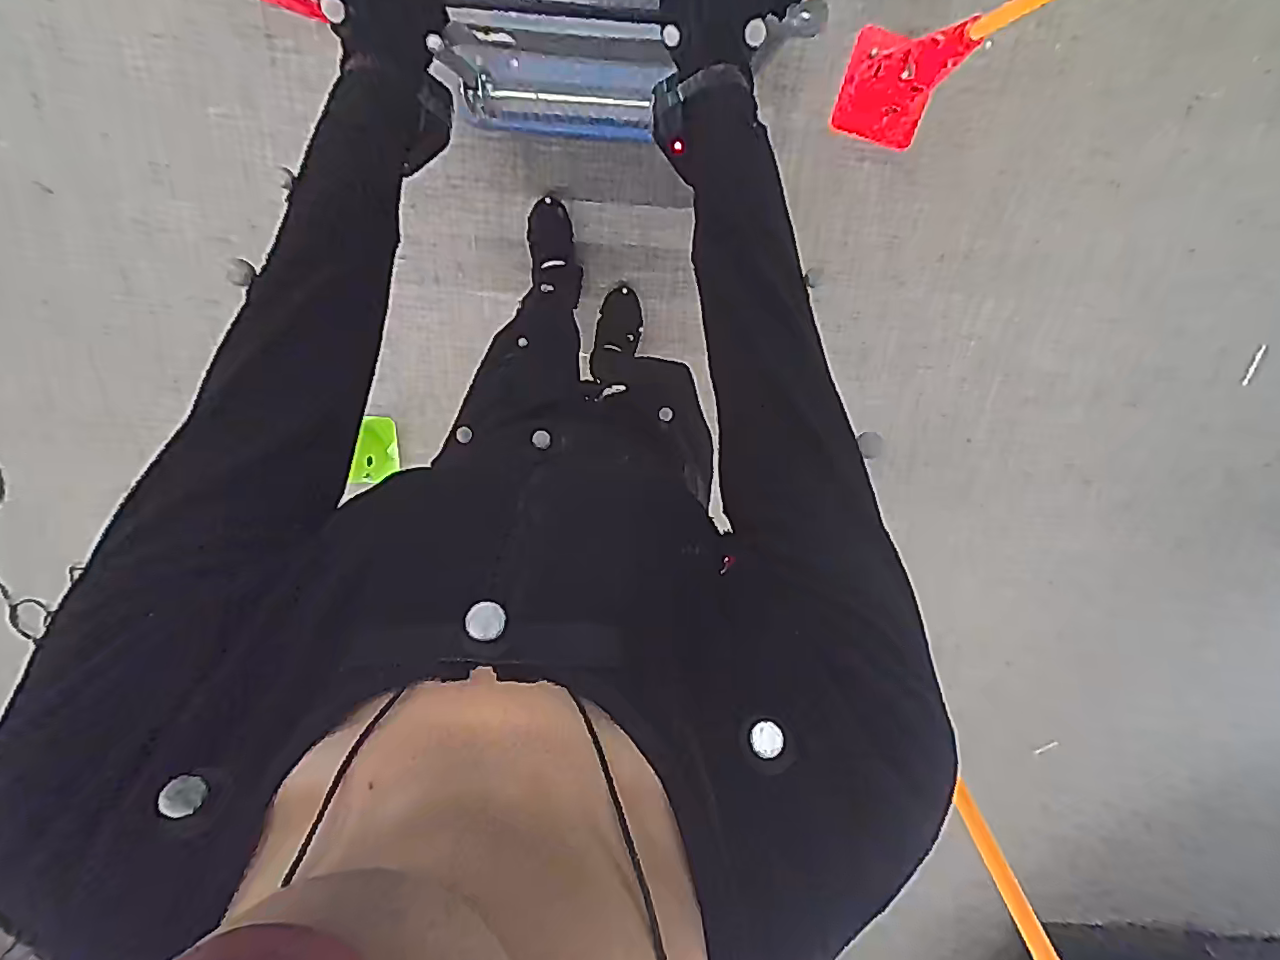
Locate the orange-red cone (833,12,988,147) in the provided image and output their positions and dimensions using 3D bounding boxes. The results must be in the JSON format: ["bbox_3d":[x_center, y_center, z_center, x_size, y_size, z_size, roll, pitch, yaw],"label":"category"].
[{"bbox_3d":[0.550,-0.805,1.042,0.198,0.360,0.199,15,112,-6],"label":"orange-red cone"}]
